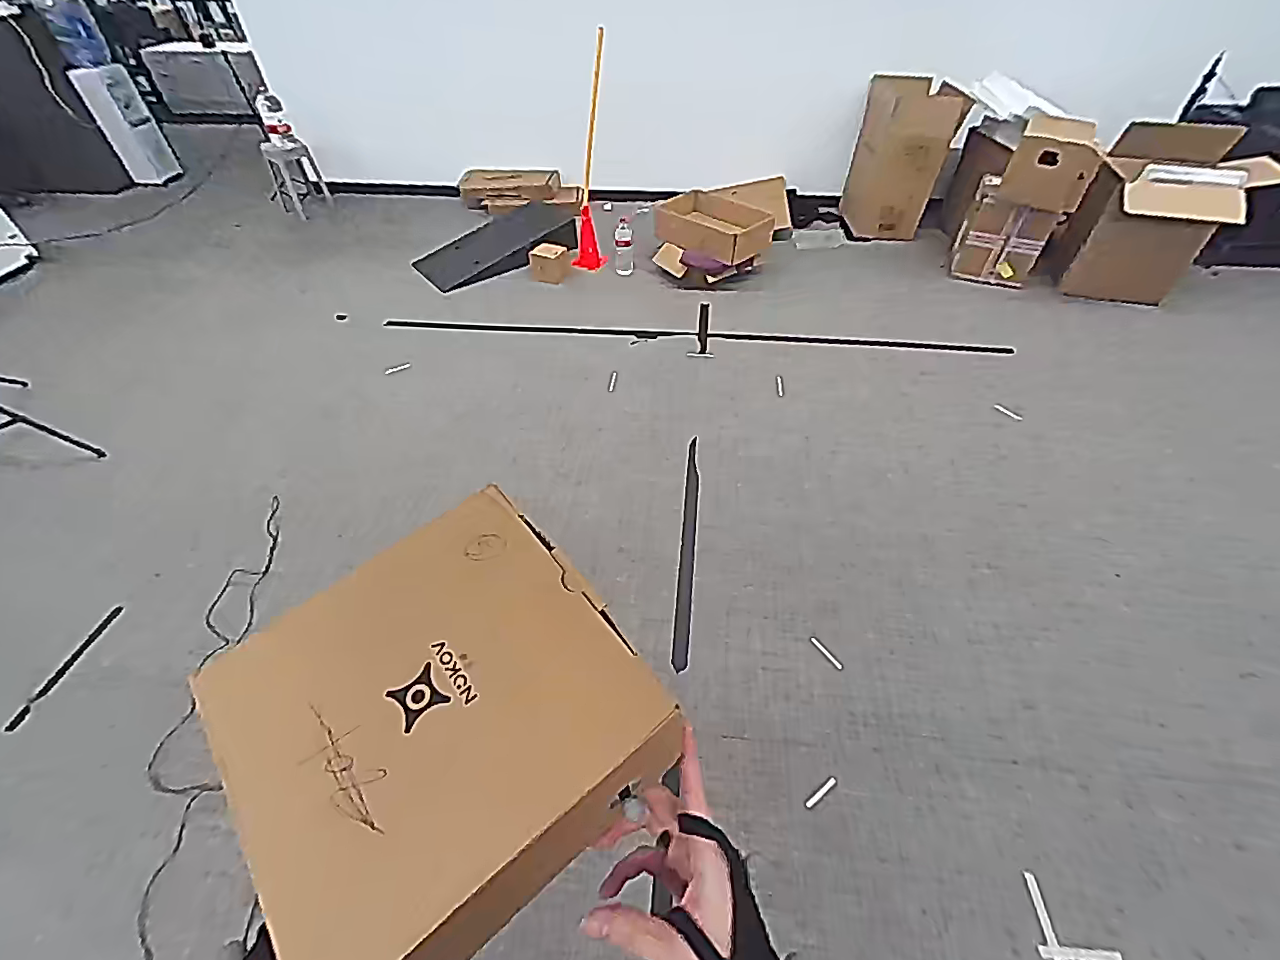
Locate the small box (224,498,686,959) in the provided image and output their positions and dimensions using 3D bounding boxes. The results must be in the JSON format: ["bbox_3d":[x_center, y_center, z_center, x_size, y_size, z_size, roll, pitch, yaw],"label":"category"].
[{"bbox_3d":[-0.090,0.150,0.330,0.179,0.176,0.168,-36,60,-18],"label":"small box"}]
